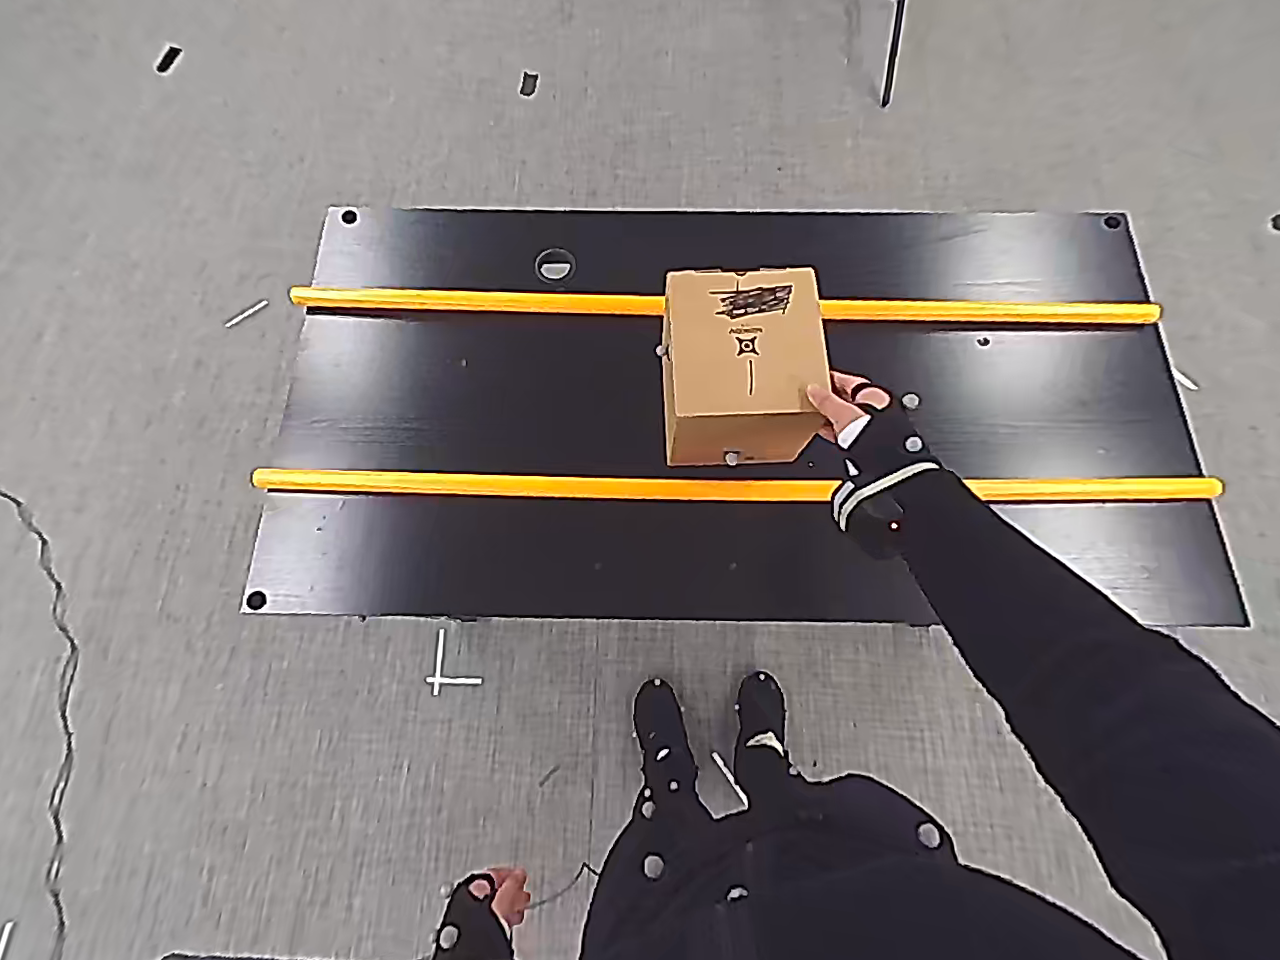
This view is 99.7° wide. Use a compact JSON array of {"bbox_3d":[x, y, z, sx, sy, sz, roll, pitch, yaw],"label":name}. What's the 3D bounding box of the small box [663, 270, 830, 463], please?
[{"bbox_3d":[0.115,-0.130,0.661,0.168,0.176,0.179,-2,74,0],"label":"small box"}]
